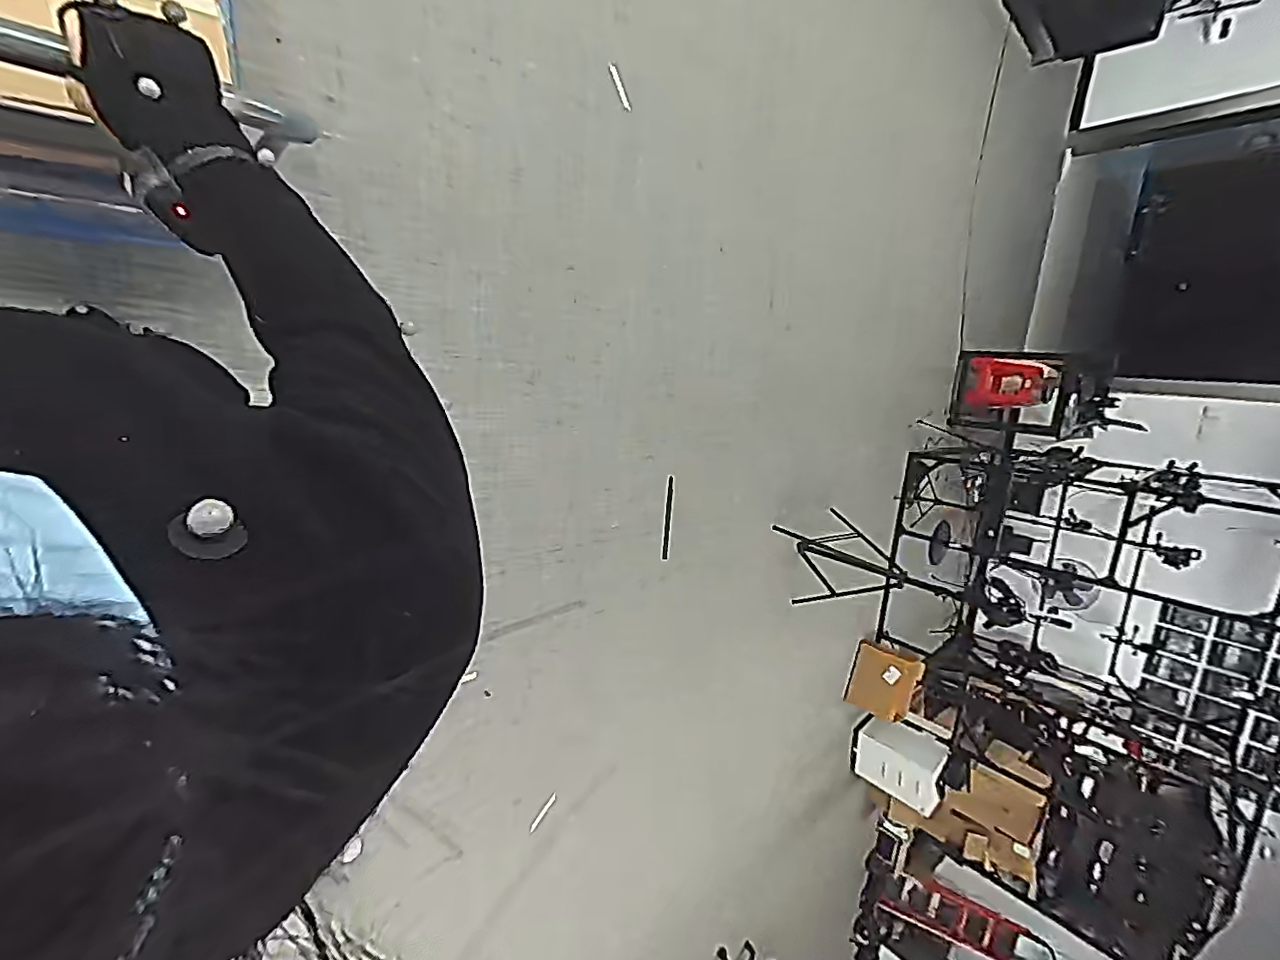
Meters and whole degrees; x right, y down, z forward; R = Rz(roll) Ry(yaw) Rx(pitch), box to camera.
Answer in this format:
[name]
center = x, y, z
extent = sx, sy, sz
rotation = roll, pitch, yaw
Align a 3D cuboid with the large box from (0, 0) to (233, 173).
[large box]
center = -0.834, -0.637, 0.710
extent = 0.408, 0.320, 0.320
rotation = -15, 112, -42
